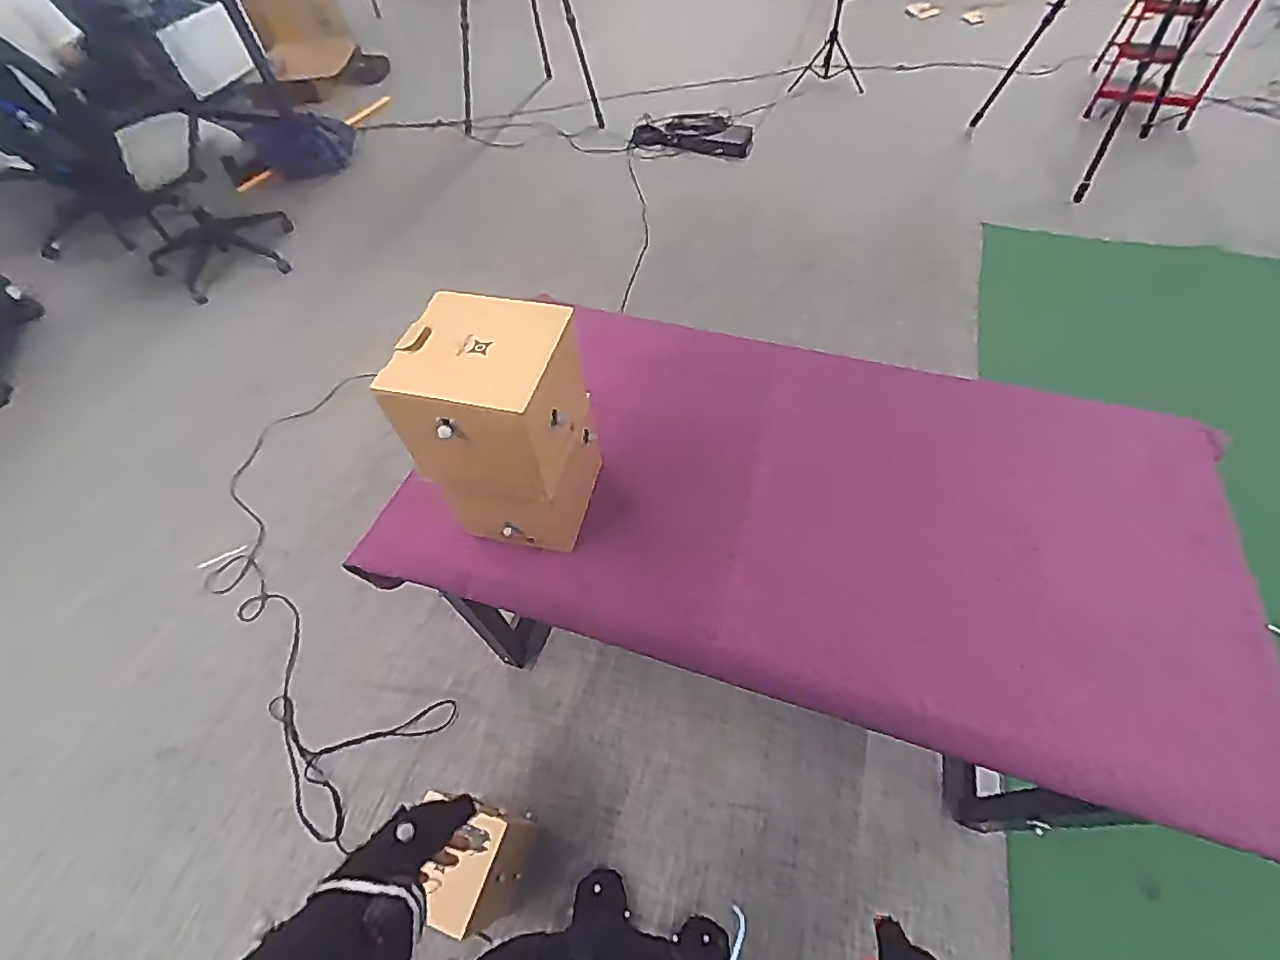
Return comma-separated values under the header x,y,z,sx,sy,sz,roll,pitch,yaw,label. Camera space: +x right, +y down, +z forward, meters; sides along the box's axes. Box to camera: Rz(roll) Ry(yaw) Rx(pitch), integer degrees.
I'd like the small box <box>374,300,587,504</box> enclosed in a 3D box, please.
x,y,z,sx,sy,sz,roll,pitch,yaw,label
-0.173,-0.089,0.658,0.179,0.176,0.168,11,57,10,small box

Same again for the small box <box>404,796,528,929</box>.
x,y,z,sx,sy,sz,roll,pitch,yaw,label
-0.352,0.795,1.137,0.168,0.176,0.179,15,59,13,small box

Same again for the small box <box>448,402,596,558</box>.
x,y,z,sx,sy,sz,roll,pitch,yaw,label
-0.167,-0.011,0.802,0.168,0.176,0.179,11,56,9,small box
